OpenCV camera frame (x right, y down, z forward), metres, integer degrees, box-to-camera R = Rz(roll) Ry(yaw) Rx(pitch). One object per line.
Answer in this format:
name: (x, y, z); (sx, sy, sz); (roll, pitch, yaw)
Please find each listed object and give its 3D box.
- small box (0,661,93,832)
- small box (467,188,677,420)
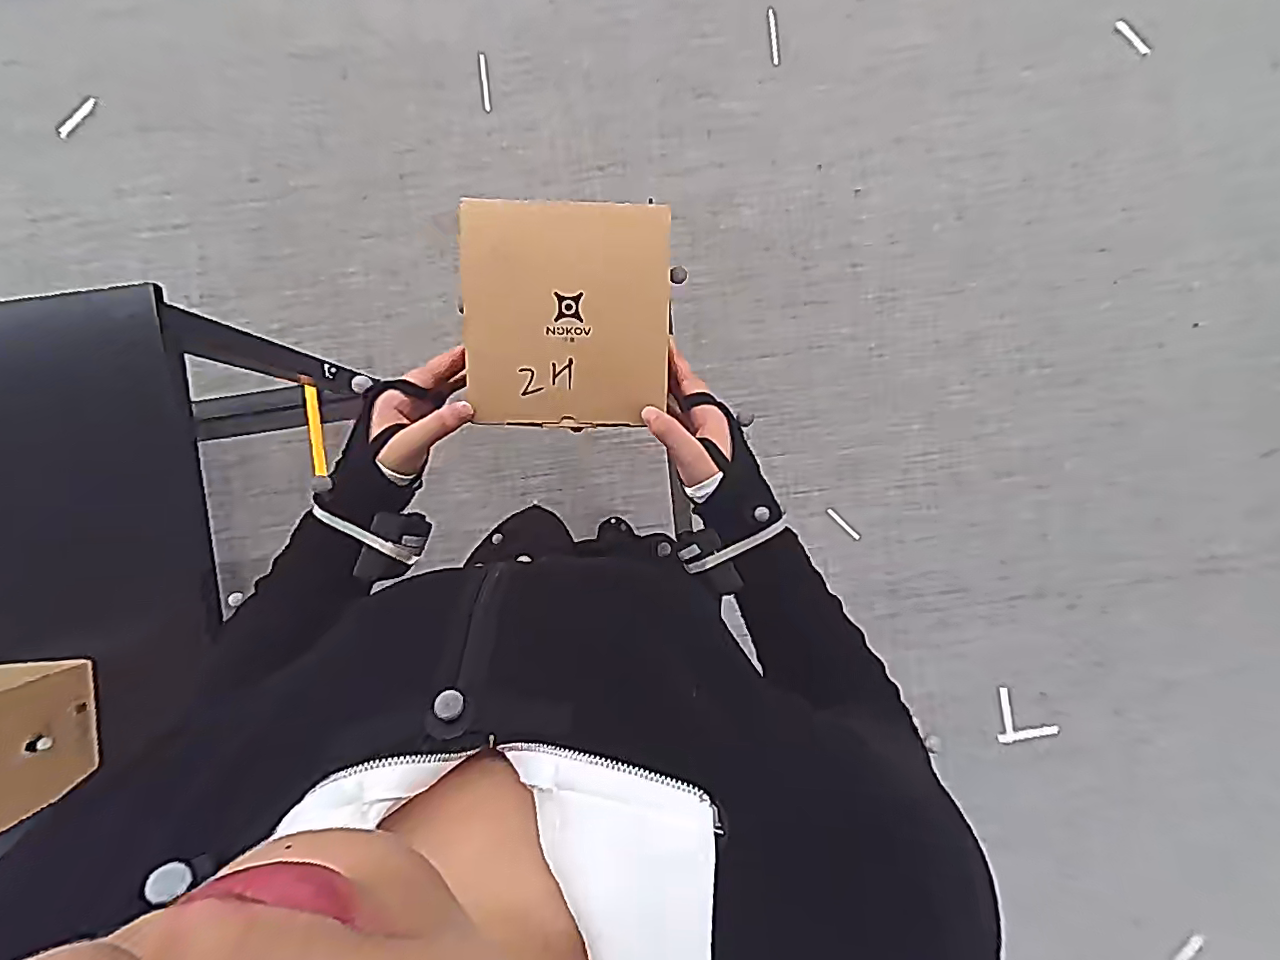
small box: (-0.832, 0.333, 0.665); (0.179, 0.176, 0.168); (-4, 91, -2)
small box: (-0.059, -0.151, 0.511); (0.168, 0.176, 0.179); (1, 101, -2)
